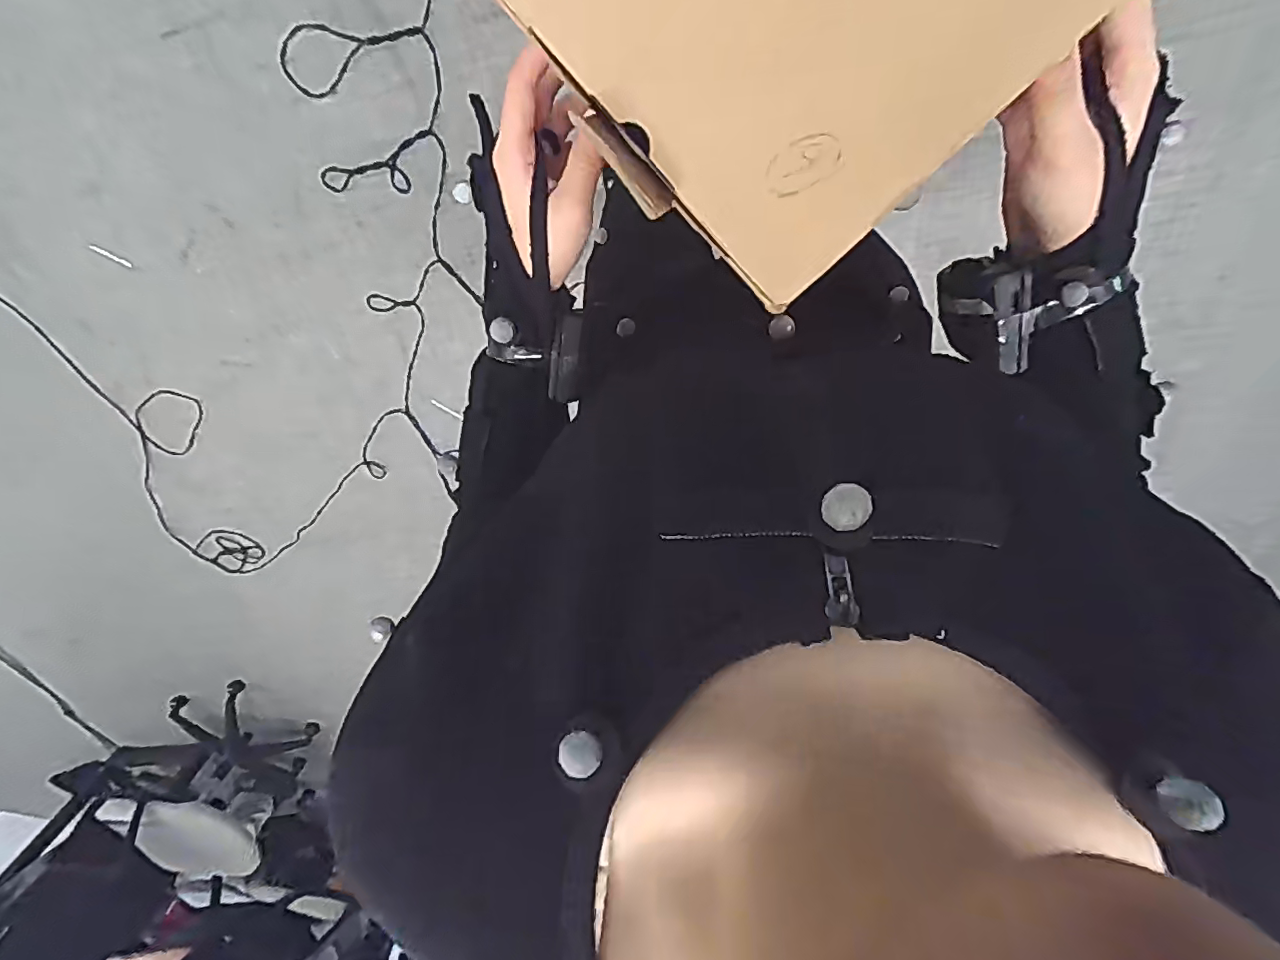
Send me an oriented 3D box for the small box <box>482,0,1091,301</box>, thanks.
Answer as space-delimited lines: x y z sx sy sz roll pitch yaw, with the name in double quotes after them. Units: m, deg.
0.069 -0.212 0.247 0.168 0.176 0.179 44 116 -10 "small box"
